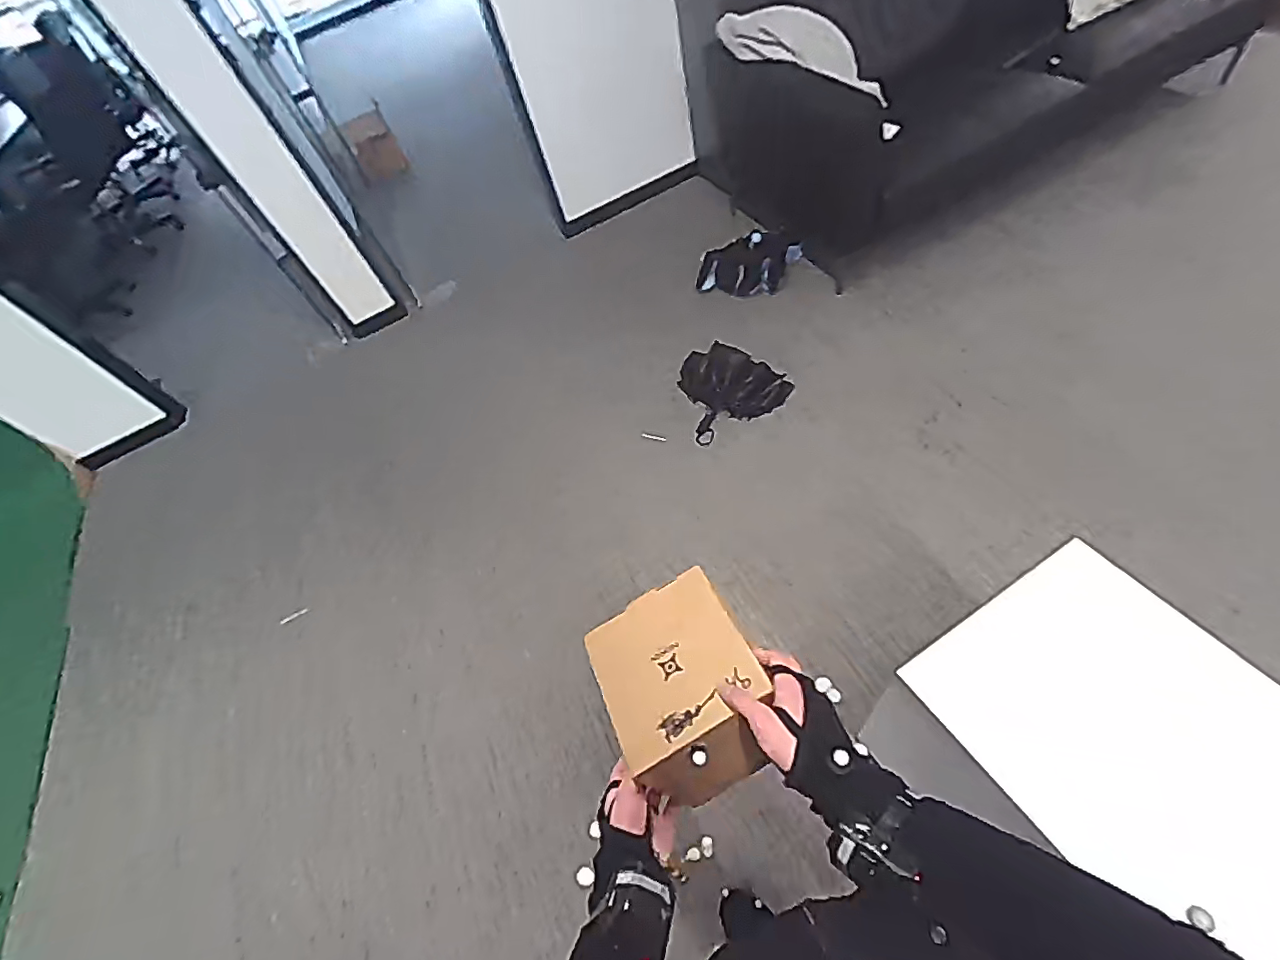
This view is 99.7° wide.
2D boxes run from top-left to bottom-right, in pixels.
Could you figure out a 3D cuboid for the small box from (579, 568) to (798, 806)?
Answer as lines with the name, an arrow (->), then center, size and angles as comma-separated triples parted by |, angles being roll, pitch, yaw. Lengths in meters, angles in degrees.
small box -> 0.058, 0.245, 0.637 | 0.168, 0.176, 0.179 | -34, 43, 0
